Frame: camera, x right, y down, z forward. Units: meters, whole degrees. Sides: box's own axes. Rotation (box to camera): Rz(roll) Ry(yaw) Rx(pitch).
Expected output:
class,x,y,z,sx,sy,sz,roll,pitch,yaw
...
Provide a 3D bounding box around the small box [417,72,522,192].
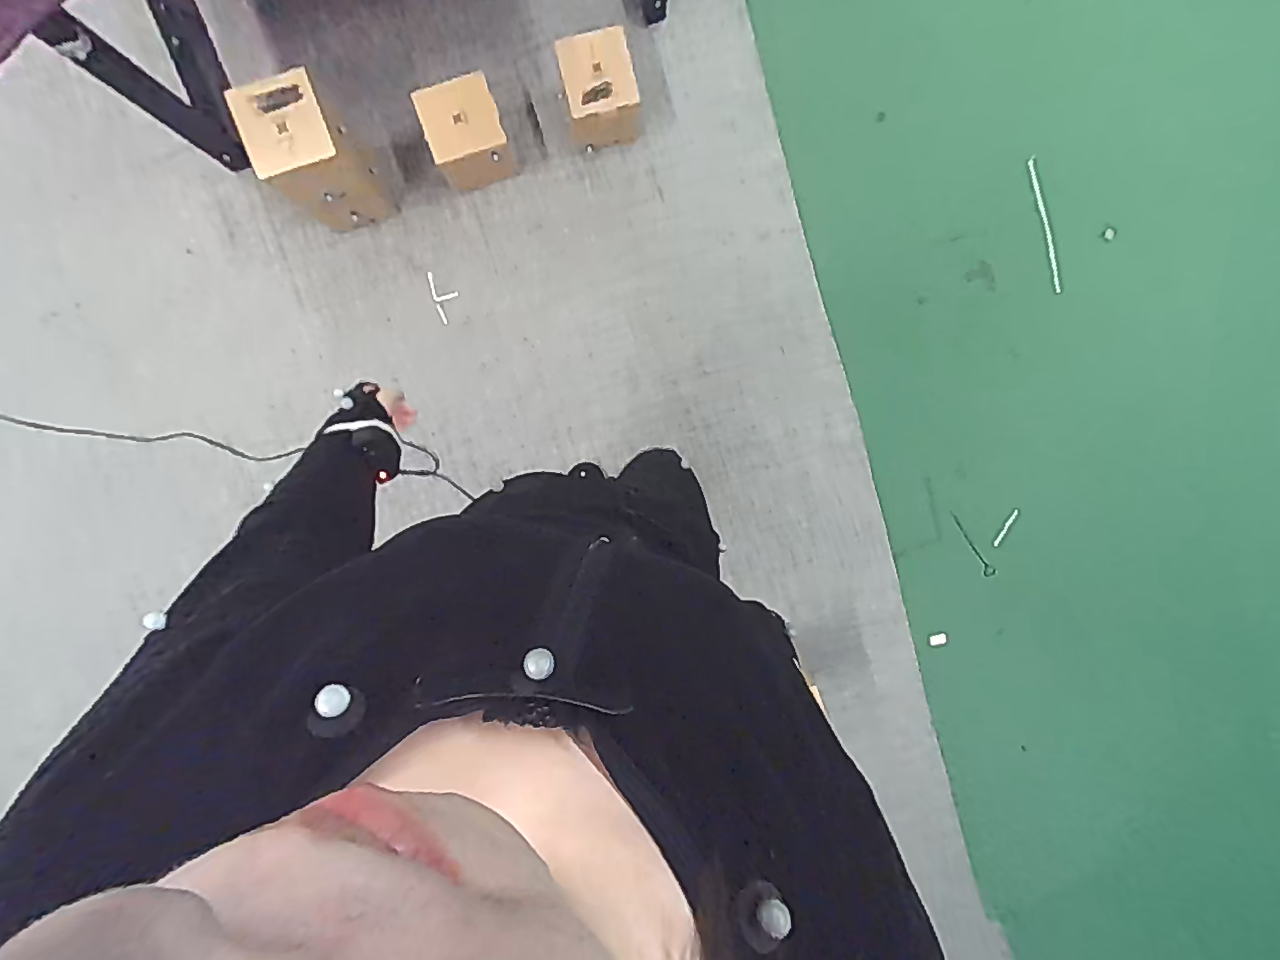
class,x,y,z,sx,sy,sz,roll,pitch,yaw
small box,-0.409,-0.841,1.327,0.179,0.176,0.168,-19,96,-1
